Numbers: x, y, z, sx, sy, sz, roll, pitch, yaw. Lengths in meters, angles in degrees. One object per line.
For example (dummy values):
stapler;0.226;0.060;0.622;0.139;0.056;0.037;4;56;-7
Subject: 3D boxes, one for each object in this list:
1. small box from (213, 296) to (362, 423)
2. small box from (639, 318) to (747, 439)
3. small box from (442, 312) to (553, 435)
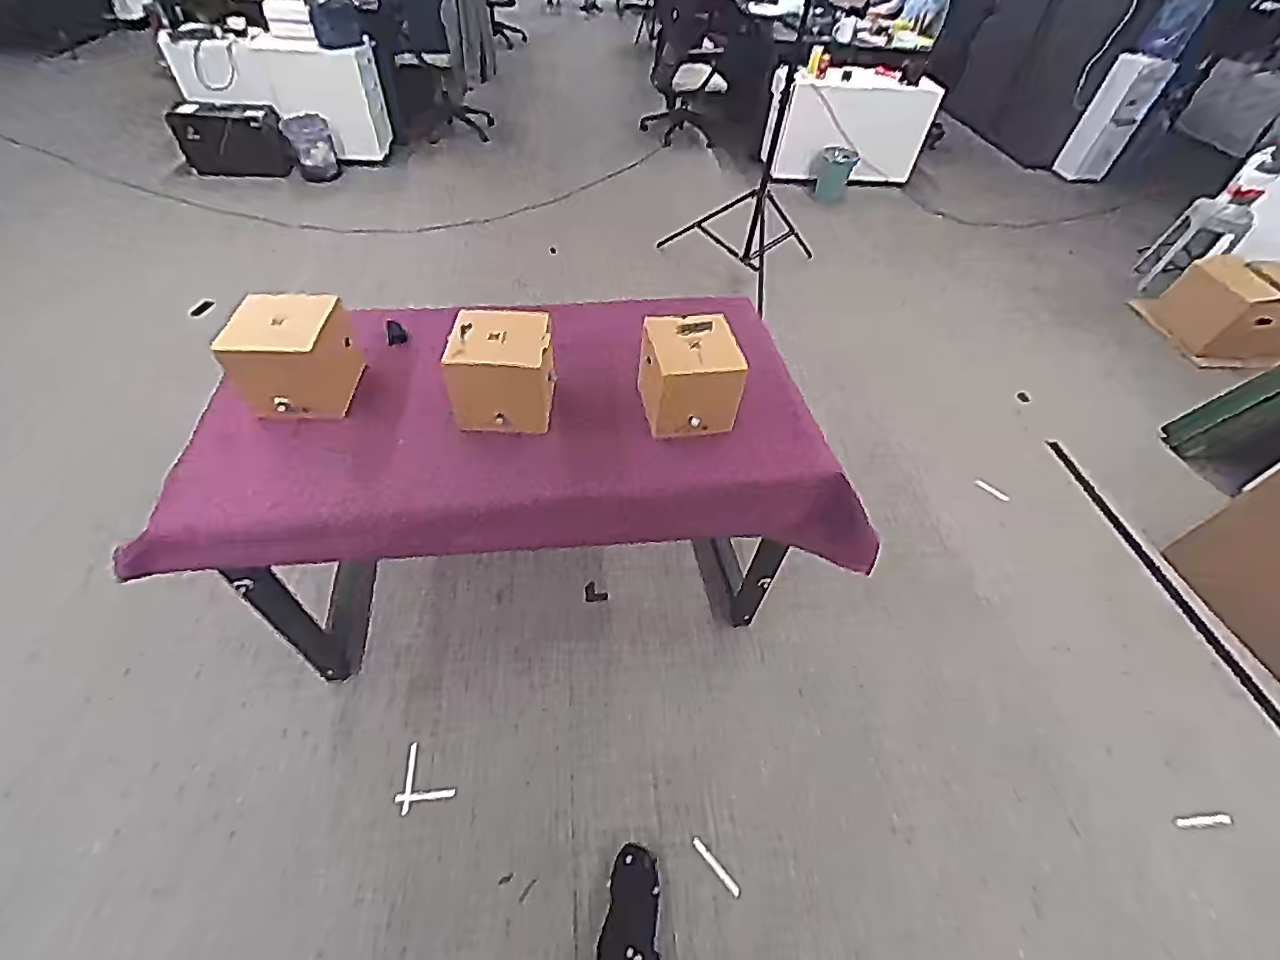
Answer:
small box;-0.657;-0.230;1.039;0.168;0.176;0.179;-1;51;-5
small box;0.096;-0.204;1.090;0.168;0.176;0.179;-6;51;-10
small box;-0.266;-0.204;1.056;0.179;0.176;0.168;3;49;-4
